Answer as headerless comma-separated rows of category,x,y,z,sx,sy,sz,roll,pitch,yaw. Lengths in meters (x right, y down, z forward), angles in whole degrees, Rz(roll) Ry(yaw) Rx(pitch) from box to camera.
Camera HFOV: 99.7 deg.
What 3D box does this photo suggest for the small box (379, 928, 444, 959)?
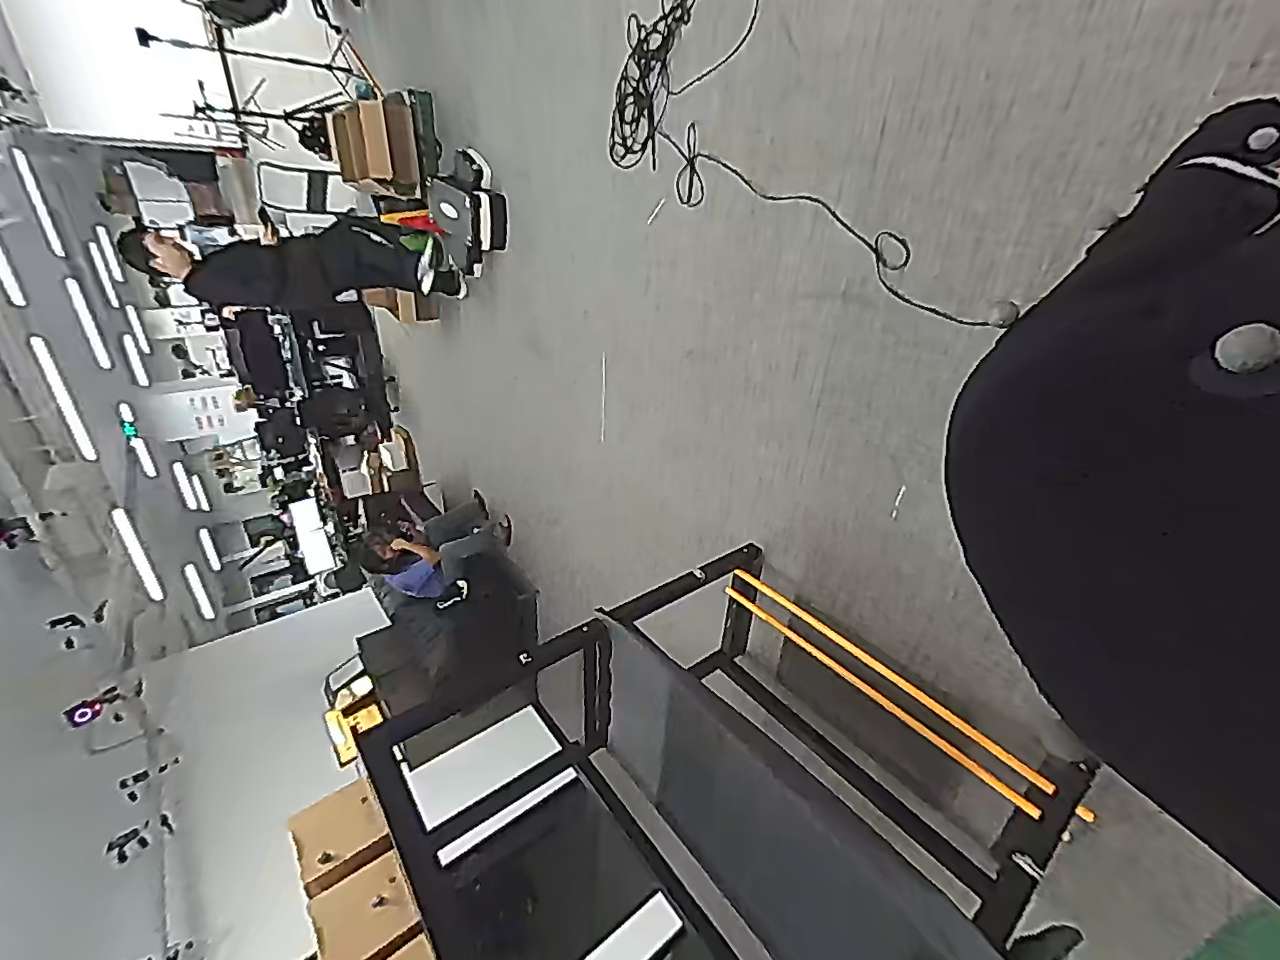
small box,-0.417,0.962,0.955,0.168,0.176,0.179,32,129,44
